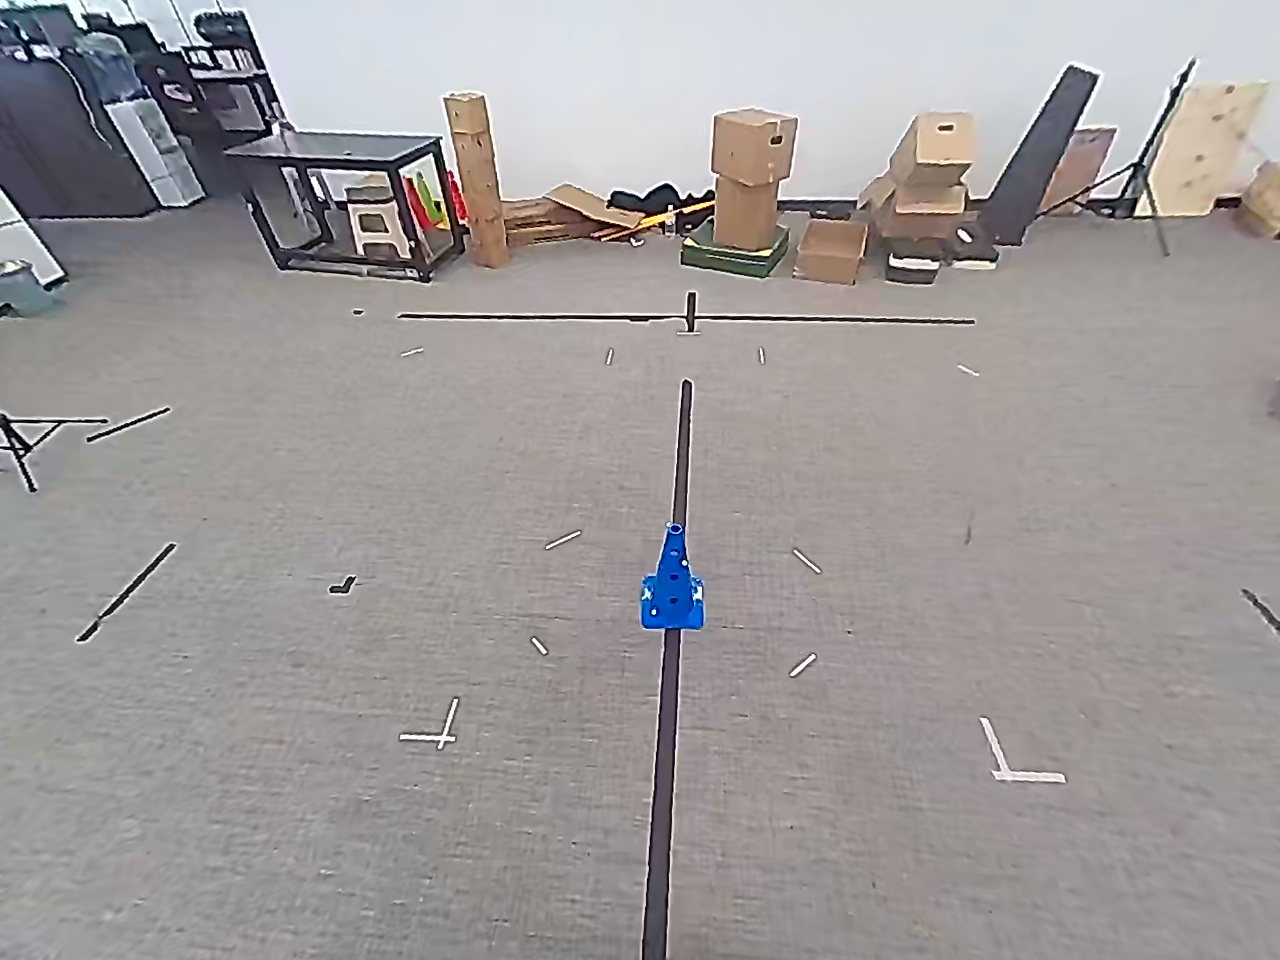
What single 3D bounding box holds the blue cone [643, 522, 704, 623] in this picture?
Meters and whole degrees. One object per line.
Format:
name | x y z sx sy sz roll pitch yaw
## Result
blue cone | 0.104 0.258 1.624 0.192 0.380 0.193 -1 45 0
